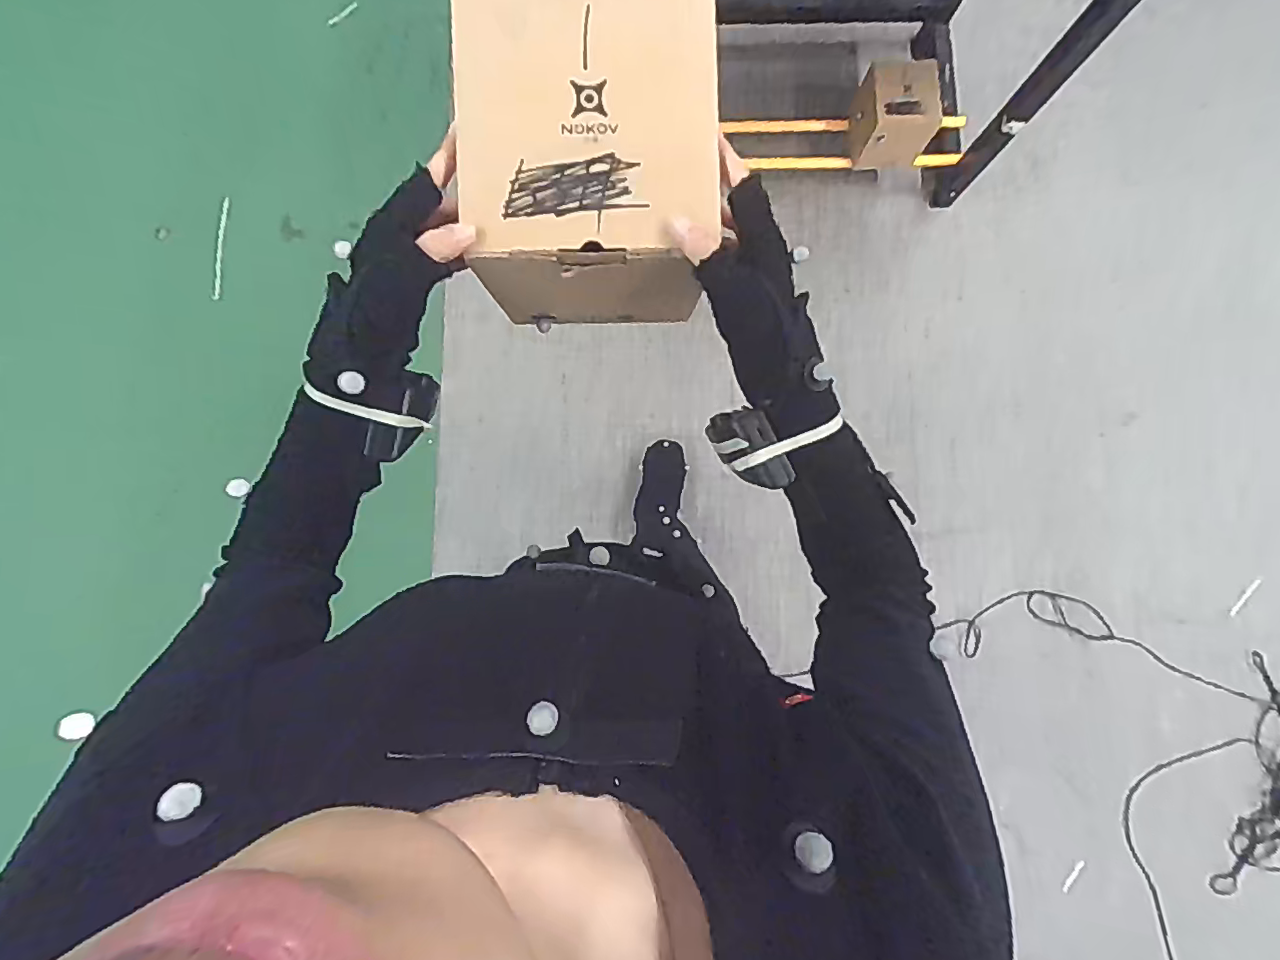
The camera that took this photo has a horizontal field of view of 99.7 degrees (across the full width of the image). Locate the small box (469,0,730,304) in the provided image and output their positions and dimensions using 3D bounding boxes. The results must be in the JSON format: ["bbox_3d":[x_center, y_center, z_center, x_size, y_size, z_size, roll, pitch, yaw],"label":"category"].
[{"bbox_3d":[-0.027,-0.244,0.419,0.168,0.176,0.179,-1,91,-2],"label":"small box"}]
